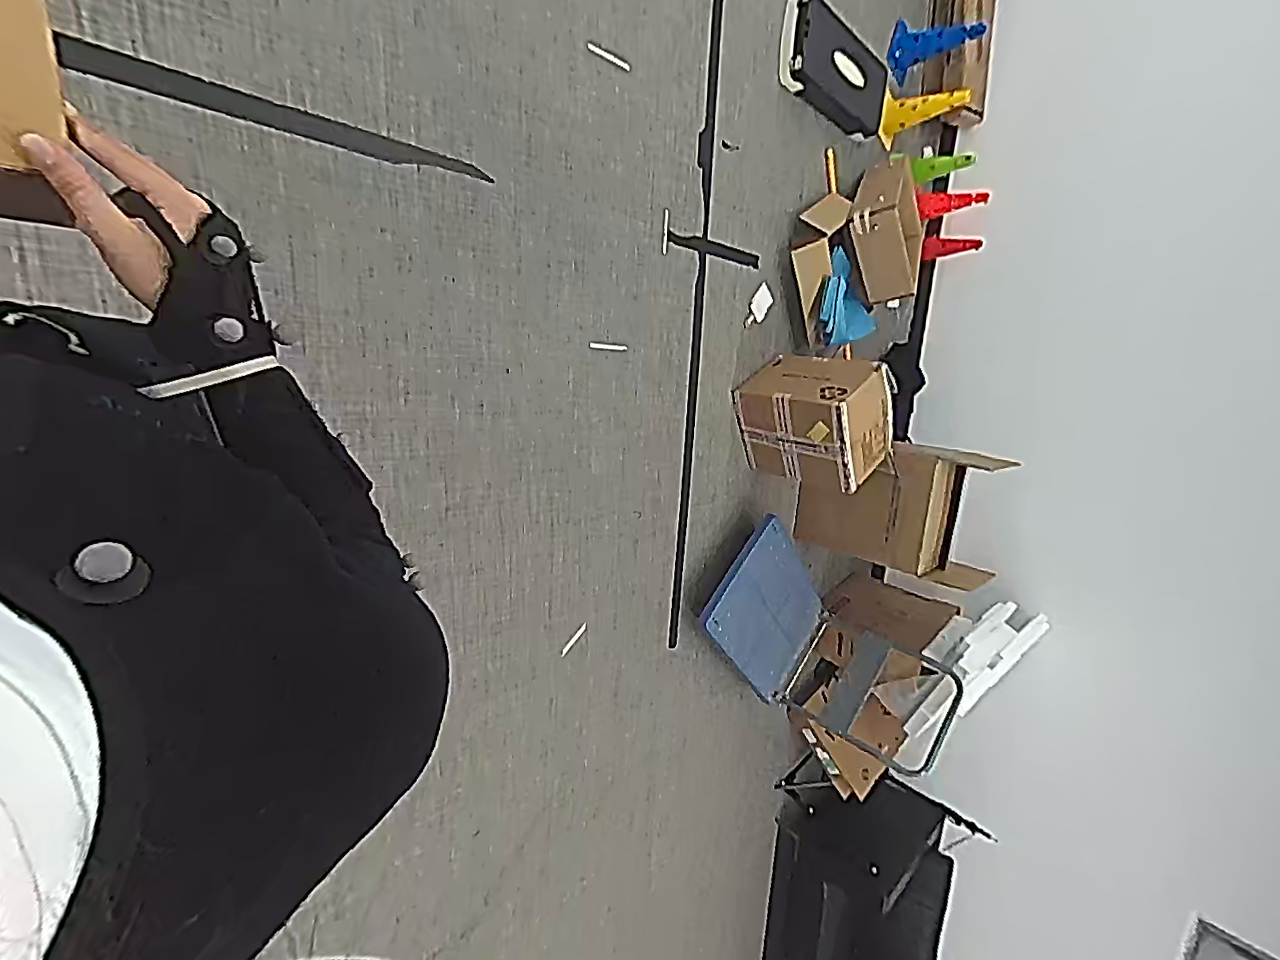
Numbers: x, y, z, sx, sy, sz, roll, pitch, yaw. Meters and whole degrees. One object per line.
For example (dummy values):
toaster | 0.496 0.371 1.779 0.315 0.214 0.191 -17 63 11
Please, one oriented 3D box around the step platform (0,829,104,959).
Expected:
step platform | -1.301 0.869 0.825 0.684 0.204 0.286 -9 108 -43

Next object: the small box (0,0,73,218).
small box | -0.438 -0.266 0.293 0.168 0.176 0.179 -9 104 -44
